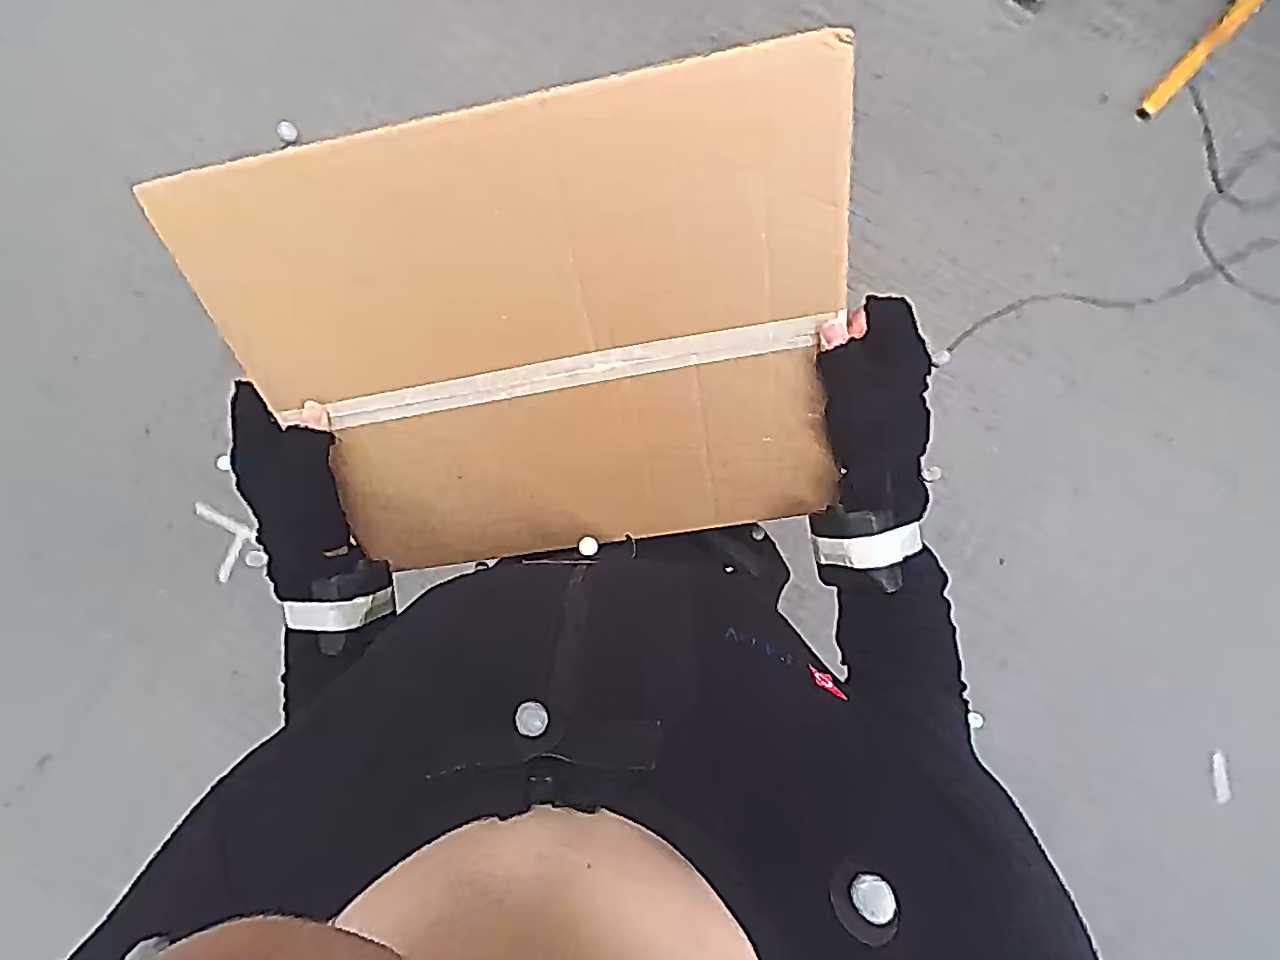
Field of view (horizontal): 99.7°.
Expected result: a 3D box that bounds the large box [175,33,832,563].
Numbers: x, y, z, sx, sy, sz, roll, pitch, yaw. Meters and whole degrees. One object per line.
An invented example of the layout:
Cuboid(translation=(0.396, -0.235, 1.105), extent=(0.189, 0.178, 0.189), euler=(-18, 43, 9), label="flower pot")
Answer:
Cuboid(translation=(-0.066, -0.162, 0.511), extent=(0.408, 0.320, 0.320), euler=(-9, 125, 6), label="large box")
